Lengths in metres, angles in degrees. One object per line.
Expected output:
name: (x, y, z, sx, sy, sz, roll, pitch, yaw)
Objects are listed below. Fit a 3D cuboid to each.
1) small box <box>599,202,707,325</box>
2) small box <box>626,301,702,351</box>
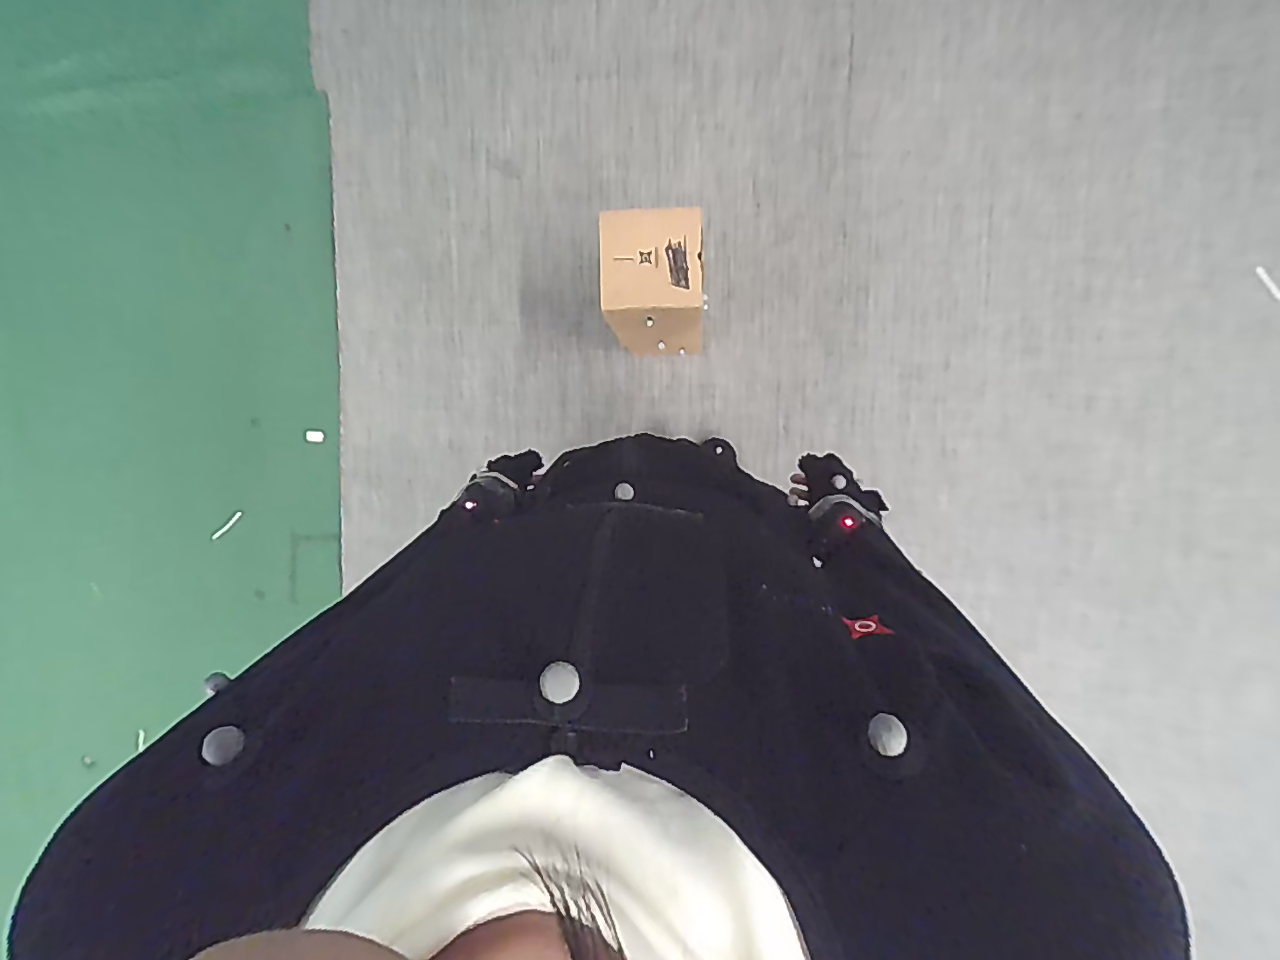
small box: (0.027, -0.386, 0.986, 0.179, 0.176, 0.168, 3, 93, 5)
small box: (0.063, -0.412, 1.314, 0.179, 0.176, 0.168, 0, 94, 7)
